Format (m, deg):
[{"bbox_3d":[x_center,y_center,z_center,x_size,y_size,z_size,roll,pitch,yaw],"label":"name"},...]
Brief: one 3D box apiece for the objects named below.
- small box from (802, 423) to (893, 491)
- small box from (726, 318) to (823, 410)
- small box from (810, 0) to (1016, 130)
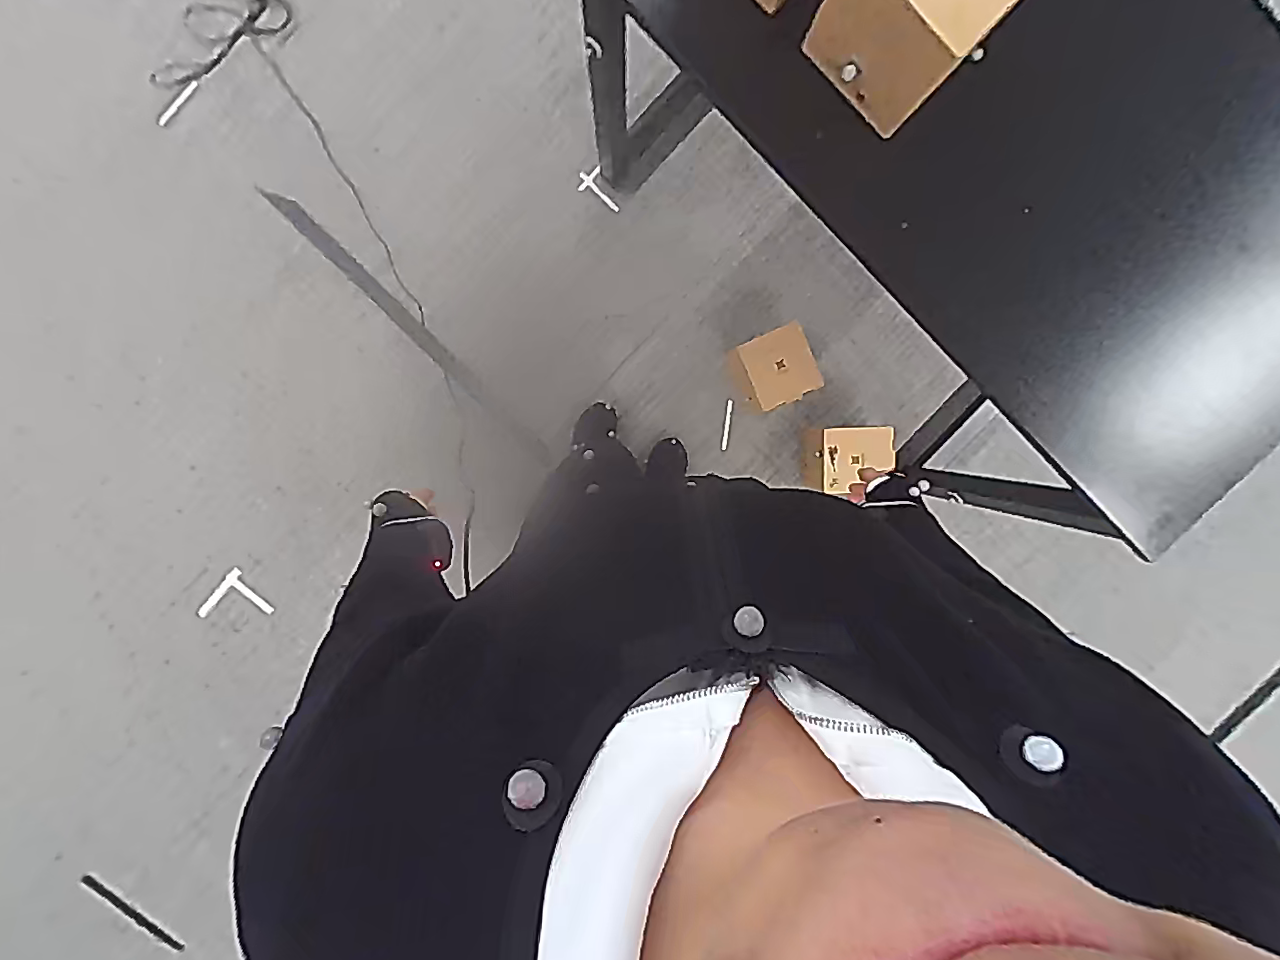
[{"bbox_3d":[0.541,-0.066,1.422,0.179,0.176,0.168,-2,96,-1],"label":"small box"},{"bbox_3d":[0.340,-0.292,1.397,0.168,0.176,0.179,-25,95,1],"label":"small box"},{"bbox_3d":[0.332,-0.569,0.632,0.168,0.176,0.179,44,94,-5],"label":"small box"}]
